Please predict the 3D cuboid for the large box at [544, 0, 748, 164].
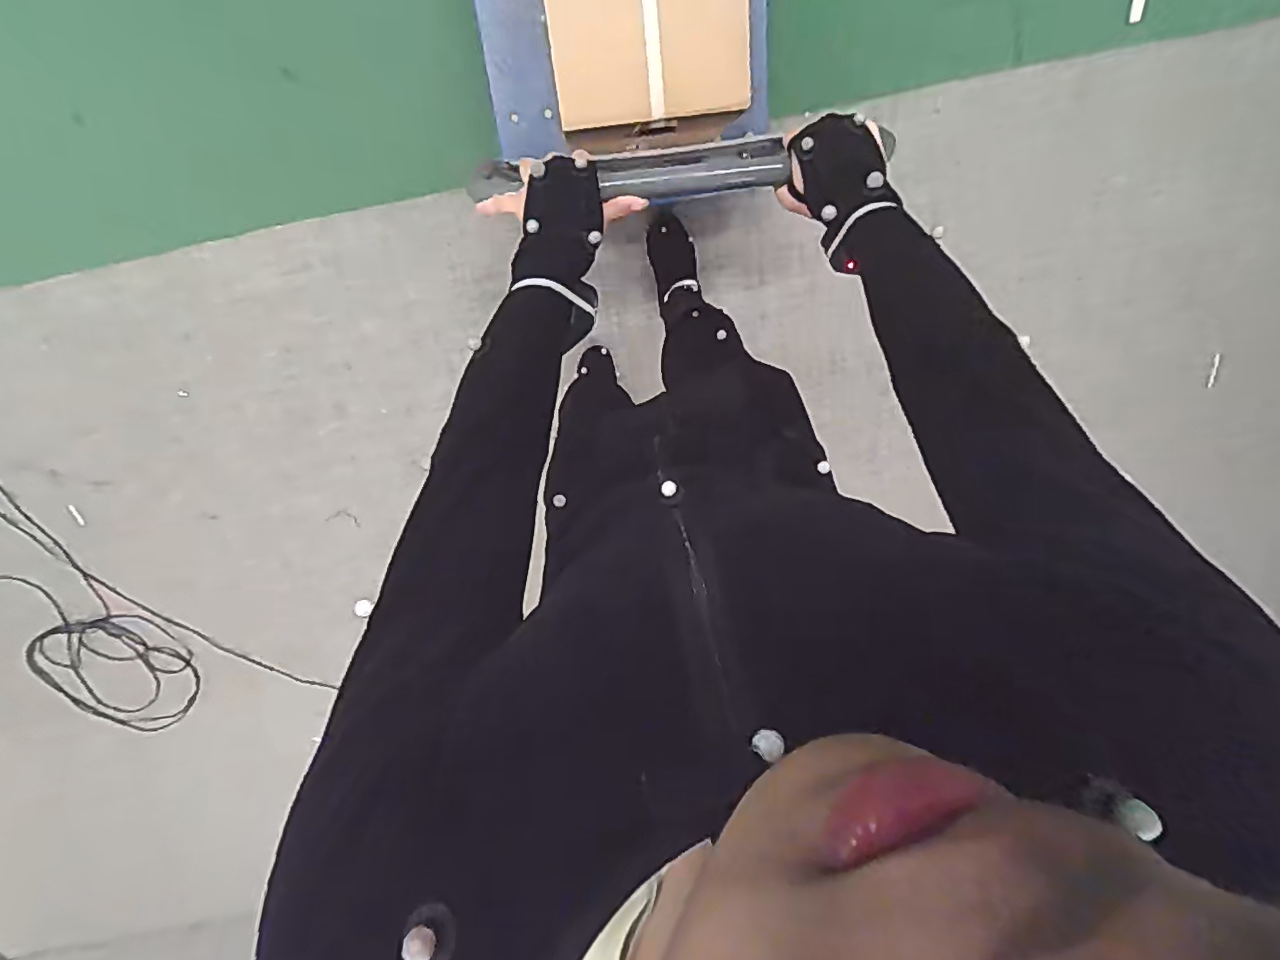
[{"bbox_3d":[-0.003,-0.829,0.957,0.320,0.320,0.408,-7,113,-1],"label":"large box"}]
